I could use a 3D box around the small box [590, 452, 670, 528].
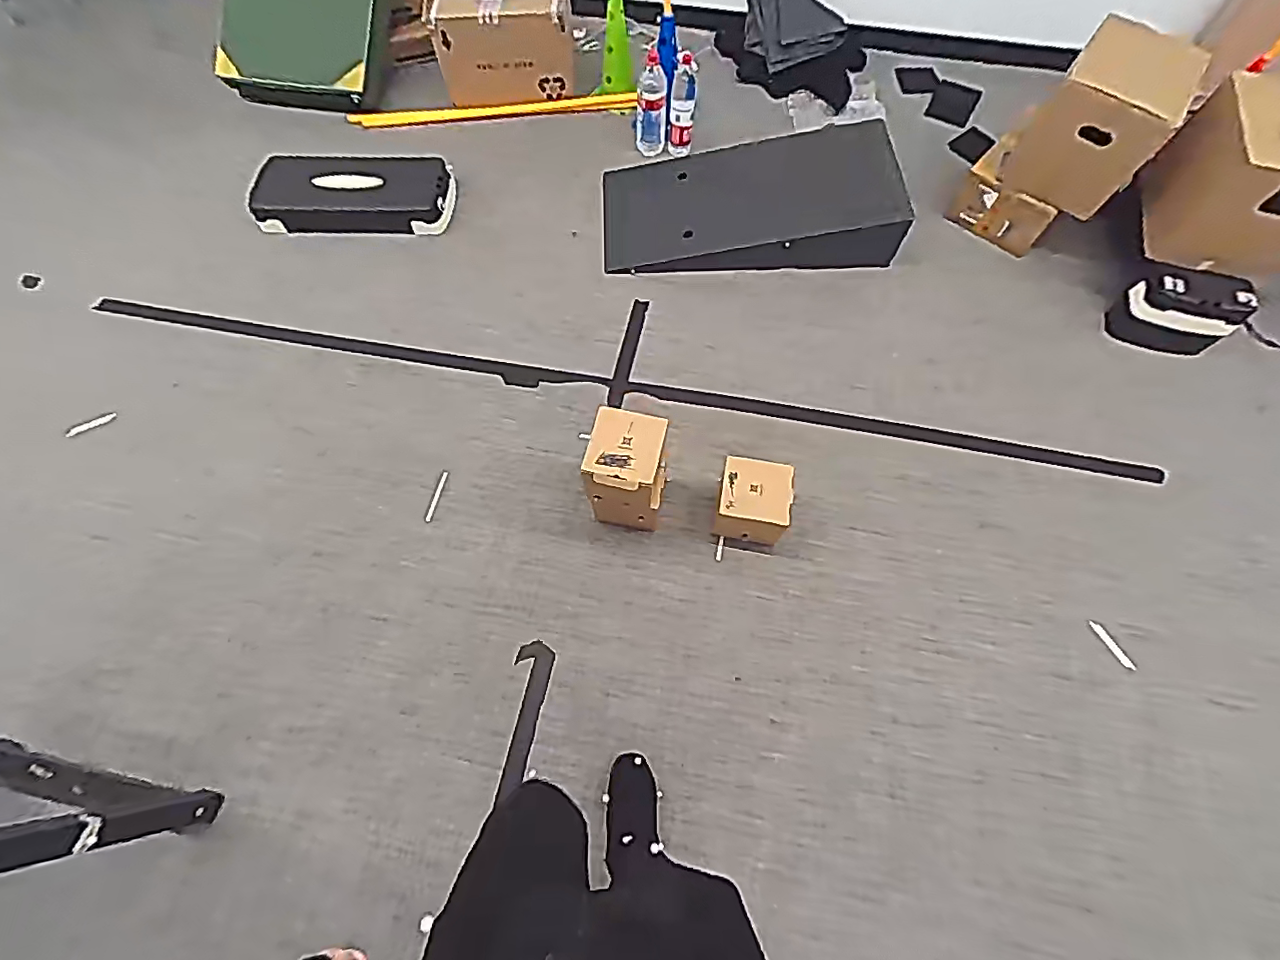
[{"bbox_3d":[-0.024,0.018,1.436,0.179,0.176,0.168,10,67,4],"label":"small box"}]

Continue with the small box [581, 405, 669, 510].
[{"bbox_3d":[-0.032,-0.047,1.285,0.168,0.176,0.179,13,66,4],"label":"small box"}]

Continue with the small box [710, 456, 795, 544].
[{"bbox_3d":[0.292,0.059,1.420,0.179,0.176,0.168,11,67,3],"label":"small box"}]
